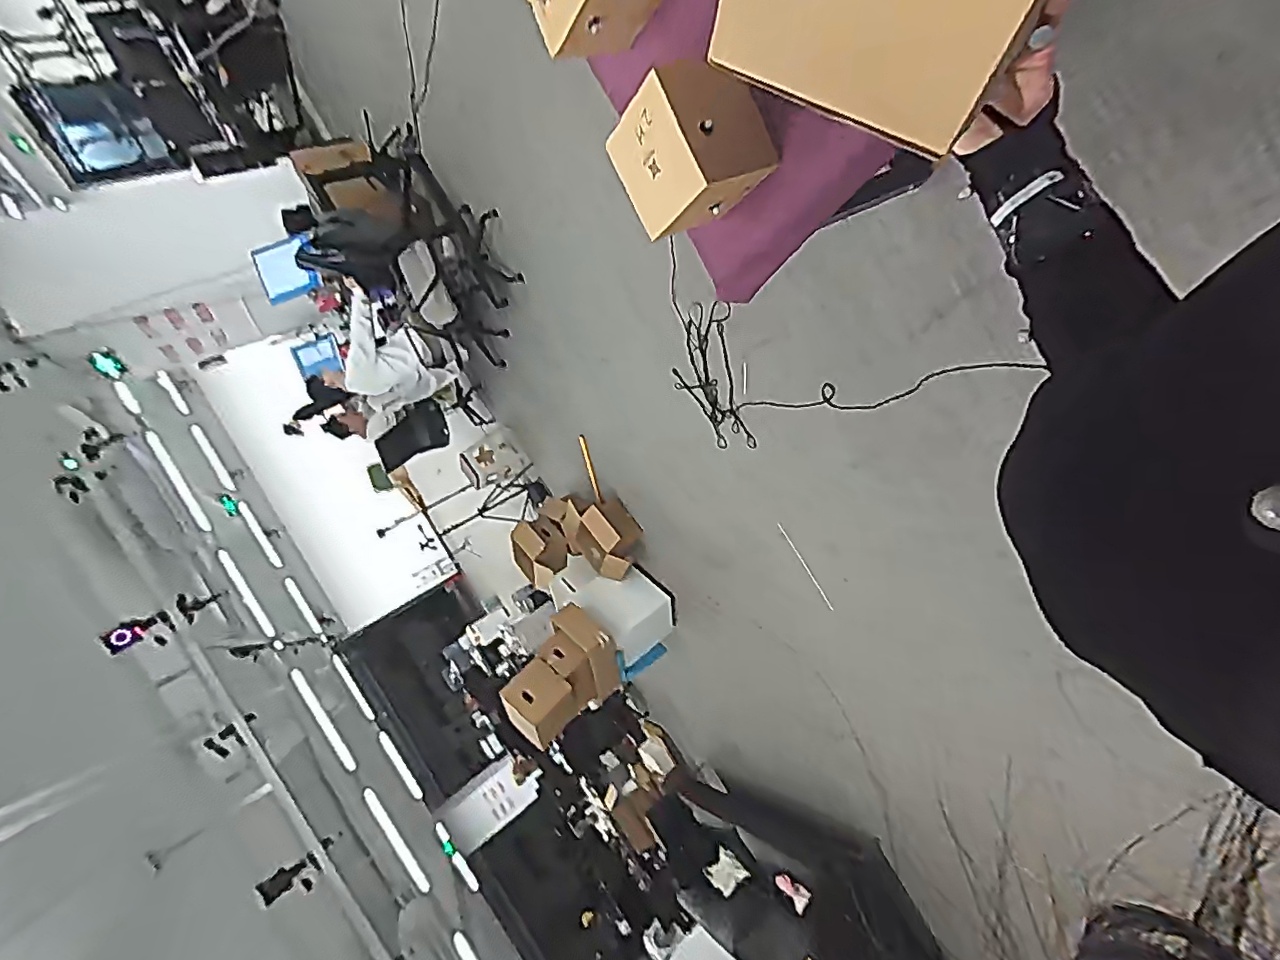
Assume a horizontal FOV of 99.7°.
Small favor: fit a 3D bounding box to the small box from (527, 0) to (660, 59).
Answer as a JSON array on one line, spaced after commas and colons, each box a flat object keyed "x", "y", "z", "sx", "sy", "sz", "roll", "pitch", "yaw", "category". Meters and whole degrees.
[{"x": -0.072, "y": -0.798, "z": 0.830, "sx": 0.179, "sy": 0.176, "sz": 0.168, "roll": -6, "pitch": 115, "yaw": 59, "category": "small box"}]

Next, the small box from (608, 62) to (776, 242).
[{"x": 0.084, "y": -0.520, "z": 0.861, "sx": 0.168, "sy": 0.176, "sz": 0.179, "roll": -13, "pitch": 106, "yaw": 61, "category": "small box"}]
